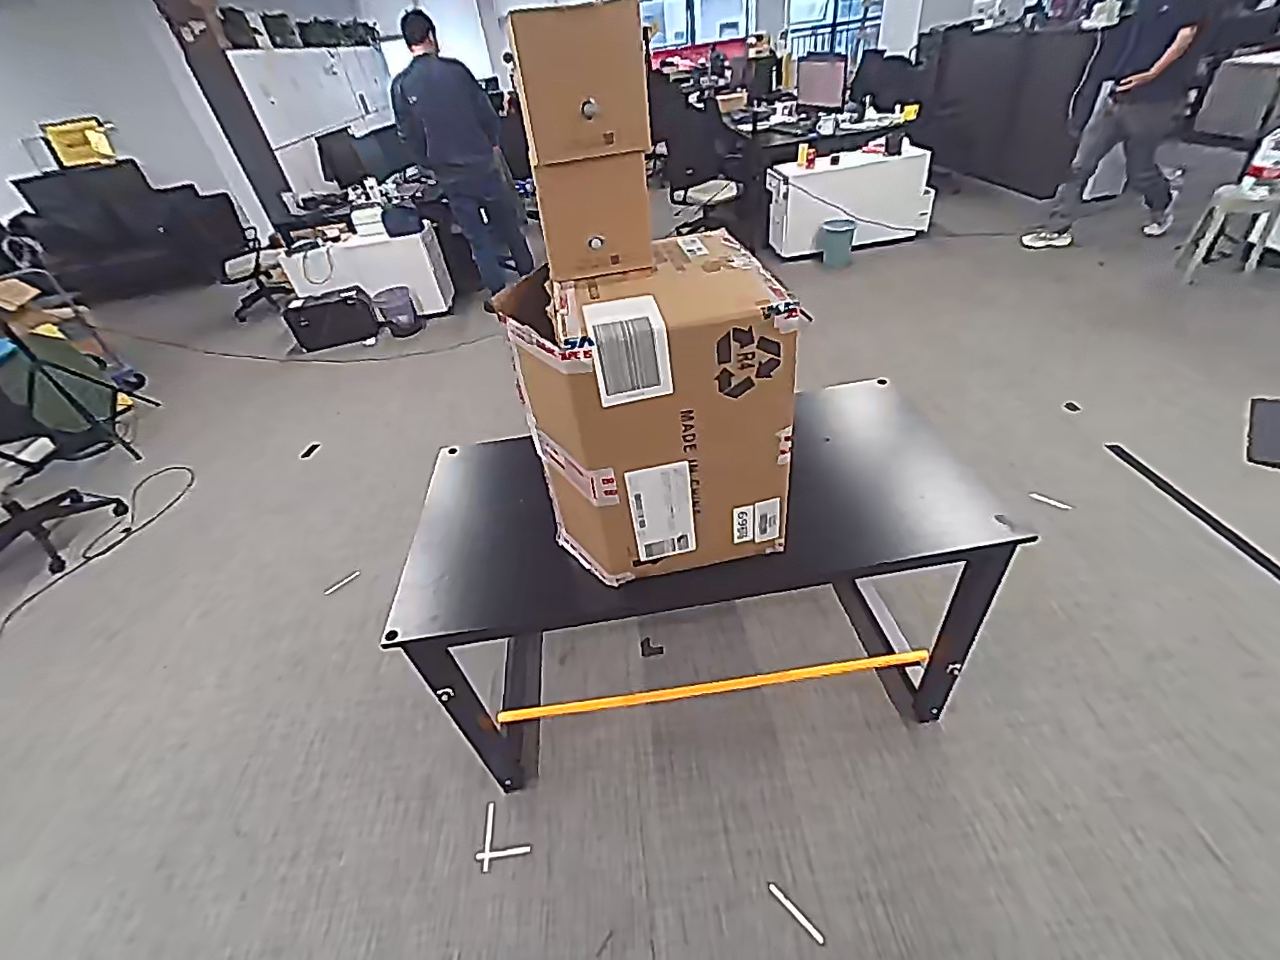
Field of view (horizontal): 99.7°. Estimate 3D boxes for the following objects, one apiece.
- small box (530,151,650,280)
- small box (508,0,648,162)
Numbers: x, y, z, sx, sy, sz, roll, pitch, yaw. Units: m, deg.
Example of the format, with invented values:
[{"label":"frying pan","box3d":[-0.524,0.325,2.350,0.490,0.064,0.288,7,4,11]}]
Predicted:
[{"label":"small box","box3d":[-0.083,-0.444,0.891,0.168,0.176,0.179,-11,38,-5]},{"label":"small box","box3d":[-0.091,-0.571,0.785,0.168,0.176,0.179,-13,37,-6]}]
